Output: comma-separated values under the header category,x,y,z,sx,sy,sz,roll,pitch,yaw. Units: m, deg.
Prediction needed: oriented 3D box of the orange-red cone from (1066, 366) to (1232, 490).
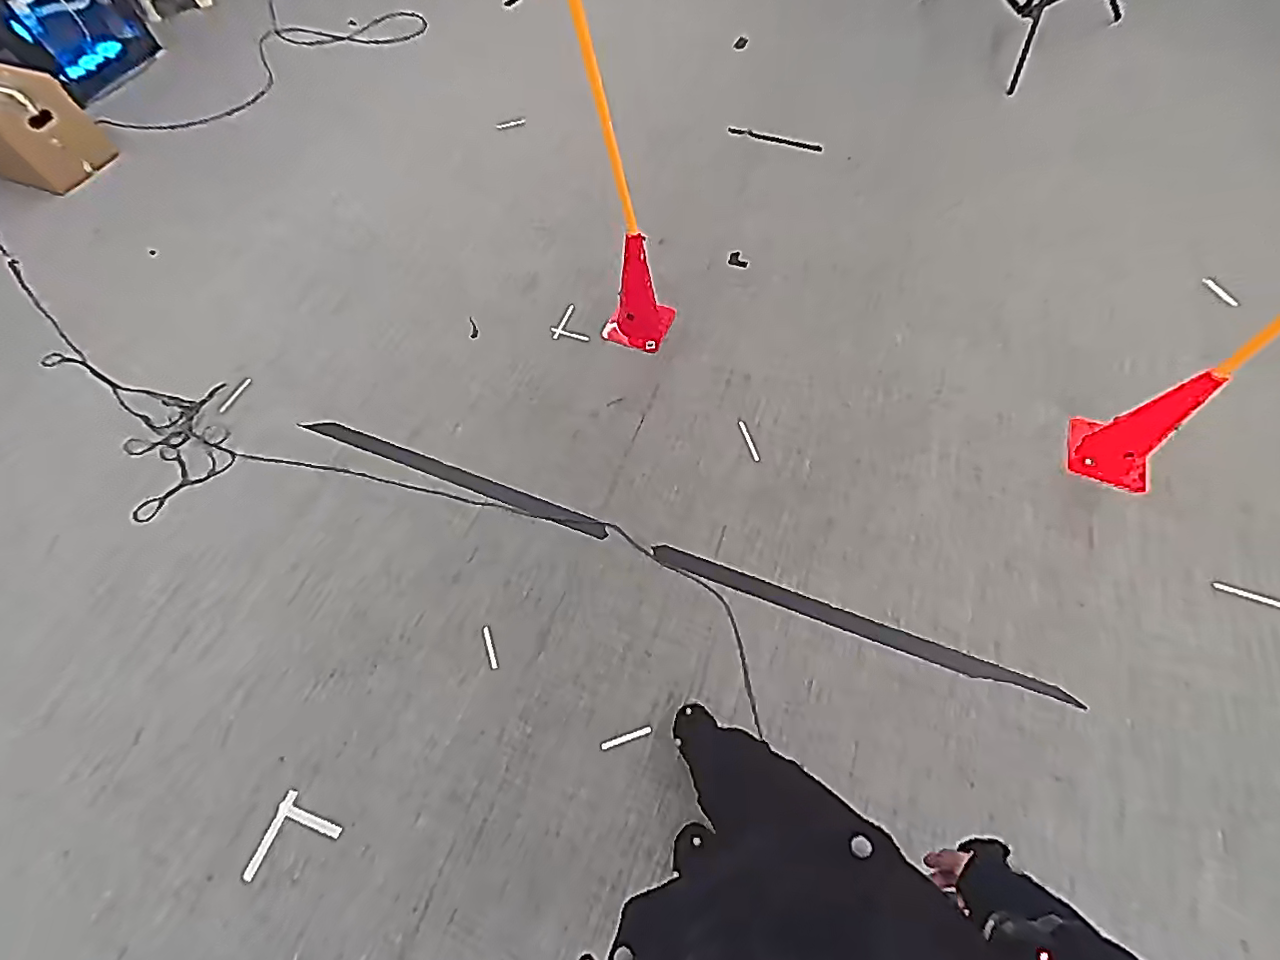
category,x,y,z,sx,sy,sz,roll,pitch,yaw
orange-red cone,1.291,-0.158,1.343,0.199,0.360,0.198,22,66,13
